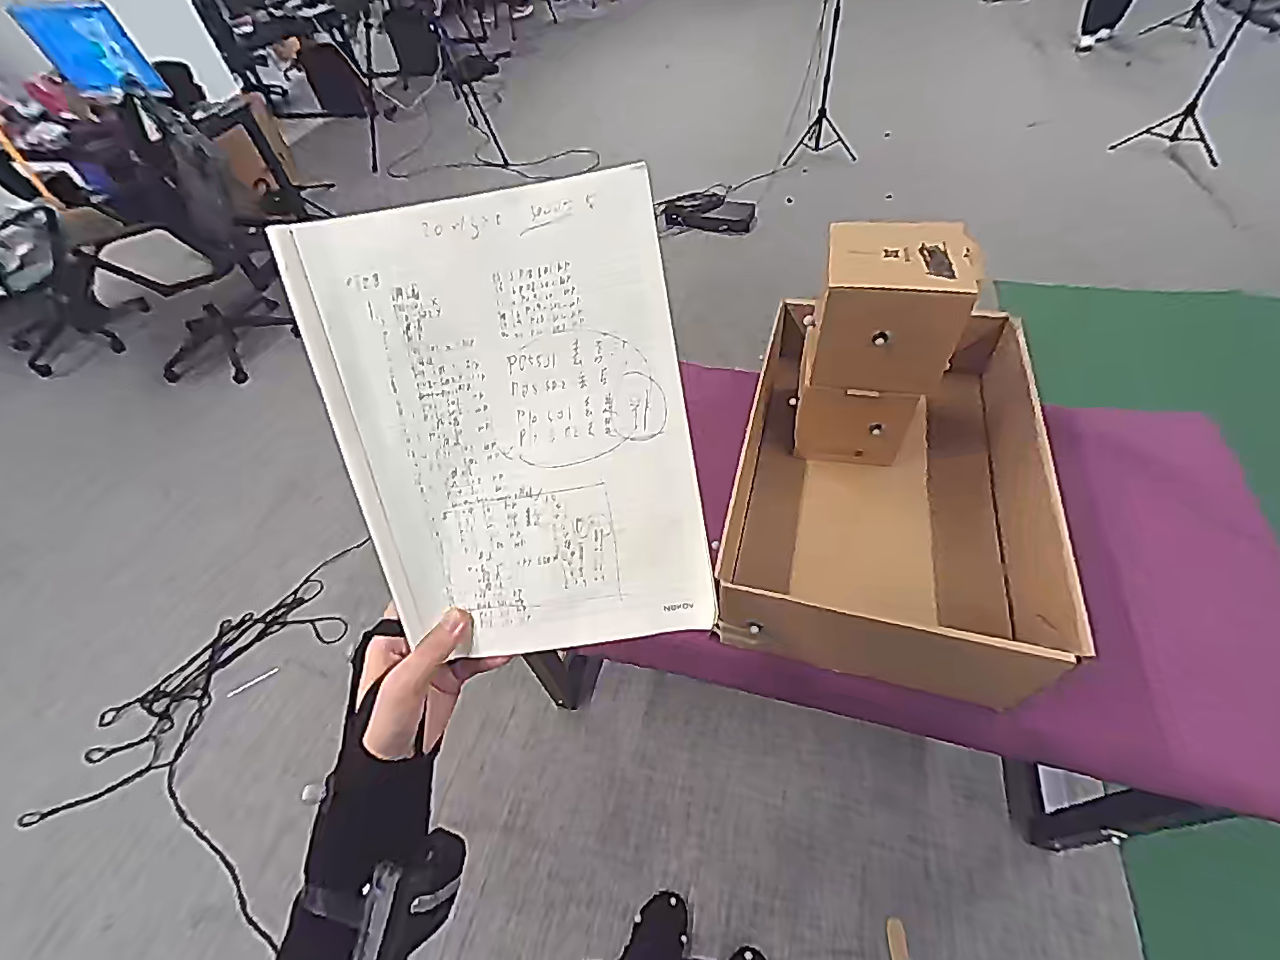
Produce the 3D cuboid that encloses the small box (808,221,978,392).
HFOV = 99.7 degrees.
[{"bbox_3d":[0.347,-0.245,0.772,0.179,0.176,0.168,7,53,12],"label":"small box"}]
